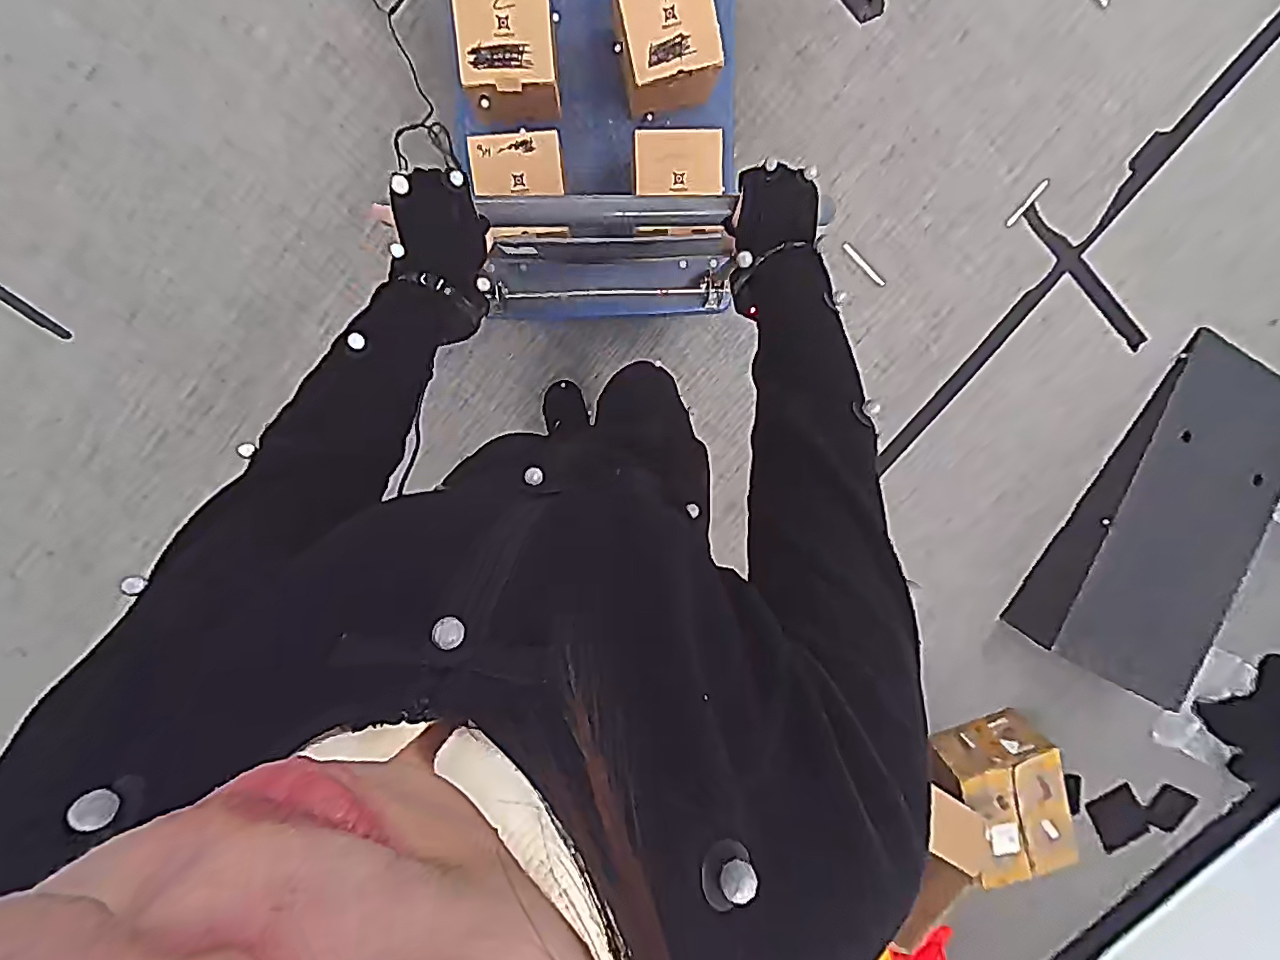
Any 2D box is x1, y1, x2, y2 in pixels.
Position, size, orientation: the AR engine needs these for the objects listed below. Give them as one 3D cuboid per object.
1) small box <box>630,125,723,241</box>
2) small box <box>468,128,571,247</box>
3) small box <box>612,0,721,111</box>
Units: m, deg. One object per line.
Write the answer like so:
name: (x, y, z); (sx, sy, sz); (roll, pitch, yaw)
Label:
small box: (0.068, -0.588, 1.093); (0.168, 0.176, 0.179); (-2, 103, -4)
small box: (-0.229, -0.568, 1.073); (0.168, 0.176, 0.179); (-6, 105, -4)
small box: (0.046, -0.837, 1.029); (0.168, 0.176, 0.179); (-14, 104, -1)
